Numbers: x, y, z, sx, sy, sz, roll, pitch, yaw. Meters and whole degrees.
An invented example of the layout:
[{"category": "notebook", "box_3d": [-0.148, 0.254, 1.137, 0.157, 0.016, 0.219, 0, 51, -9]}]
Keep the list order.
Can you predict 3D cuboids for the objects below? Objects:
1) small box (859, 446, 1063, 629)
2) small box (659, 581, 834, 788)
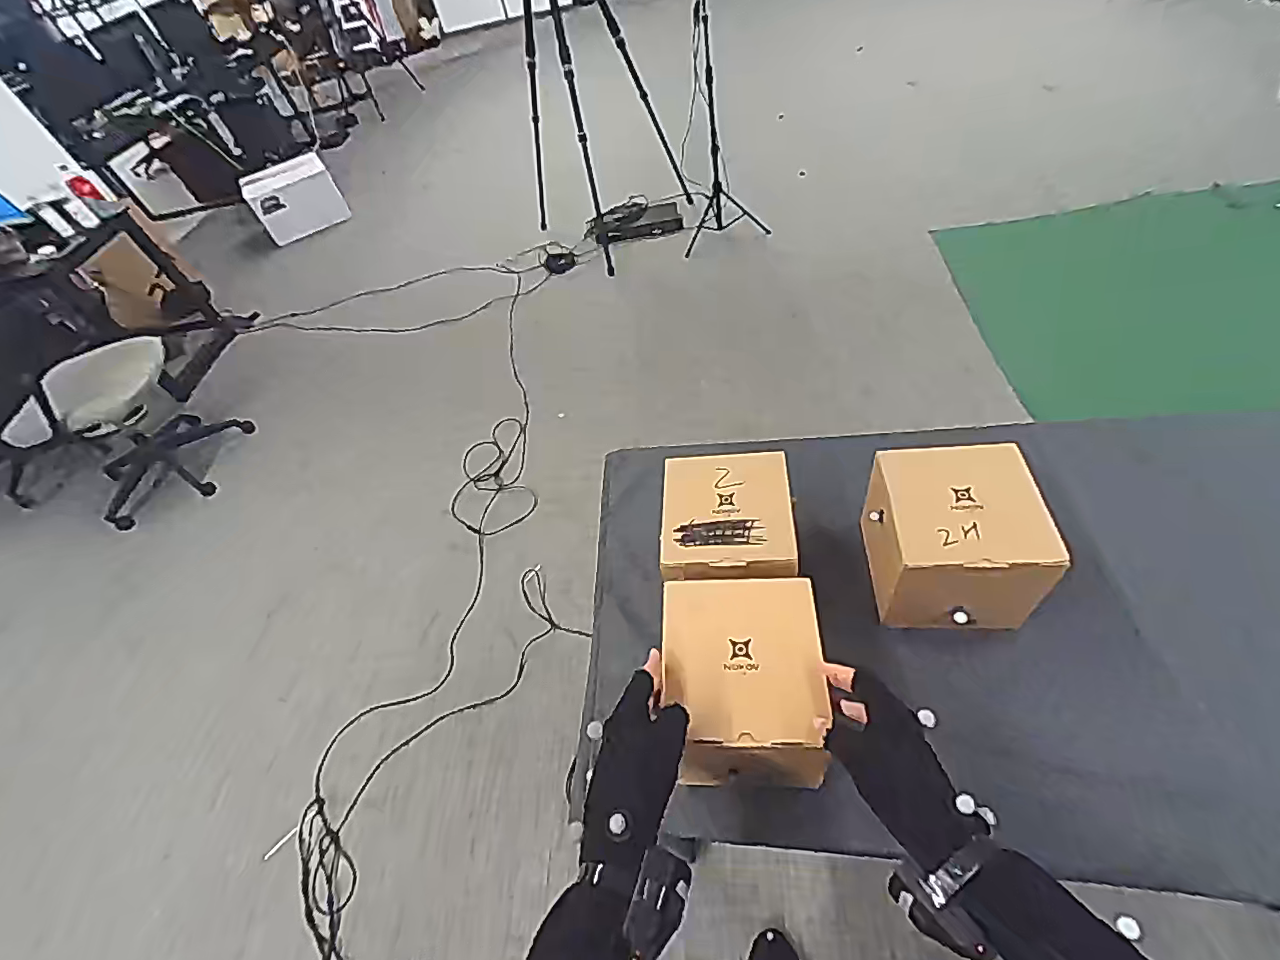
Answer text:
[{"category": "small box", "box_3d": [0.393, 0.076, 0.704, 0.168, 0.176, 0.179, -3, 52, 11]}, {"category": "small box", "box_3d": [0.112, 0.233, 0.620, 0.168, 0.176, 0.179, -2, 50, 8]}]
